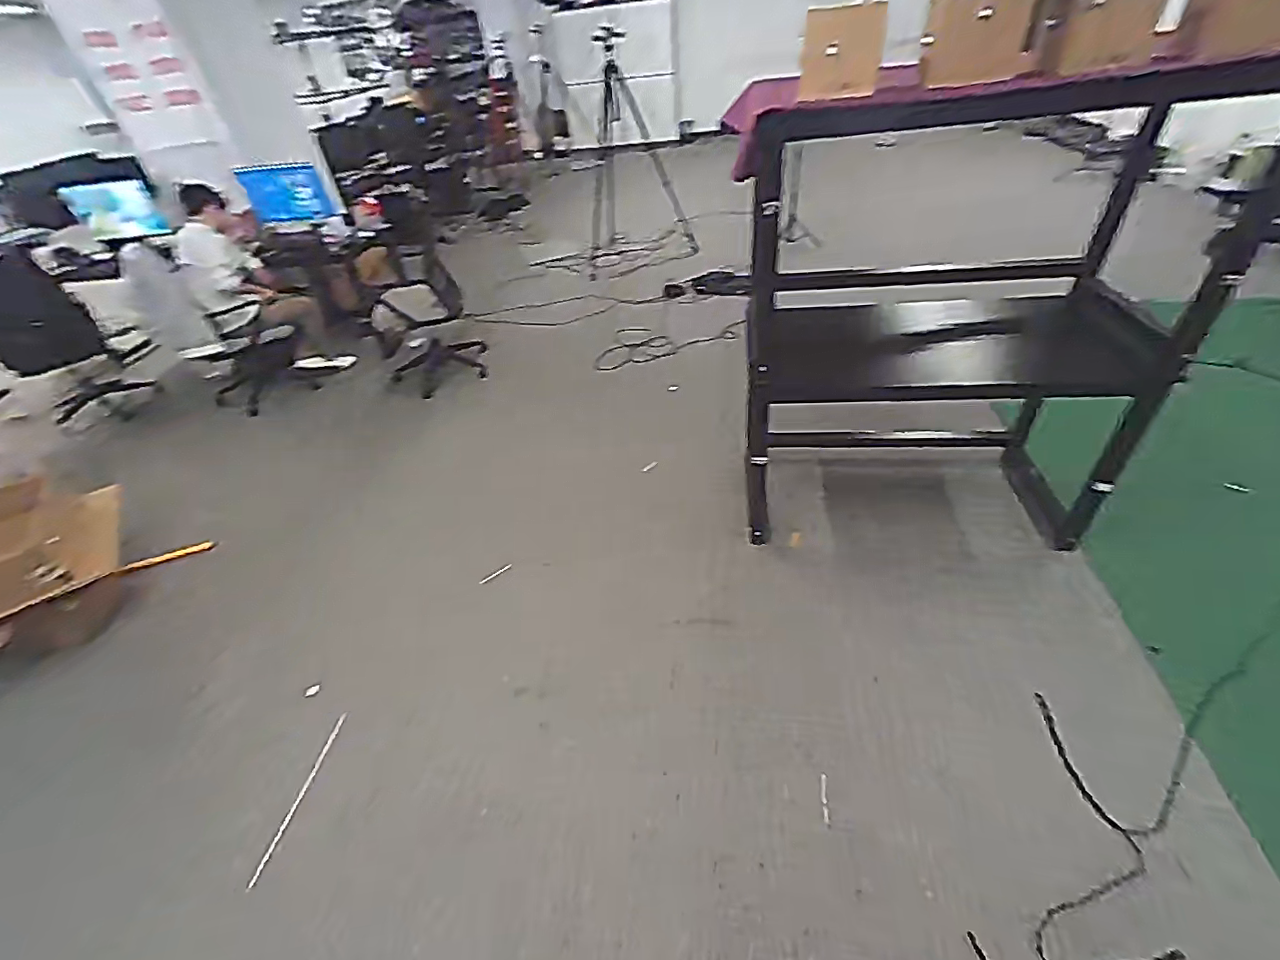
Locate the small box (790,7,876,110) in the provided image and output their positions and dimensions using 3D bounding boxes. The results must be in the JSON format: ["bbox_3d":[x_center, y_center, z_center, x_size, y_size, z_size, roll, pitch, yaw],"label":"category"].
[{"bbox_3d":[0.441,-0.974,1.257,0.168,0.176,0.179,2,39,12],"label":"small box"}]

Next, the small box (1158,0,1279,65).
[{"bbox_3d":[1.229,-0.977,1.116,0.179,0.176,0.168,2,42,13],"label":"small box"}]
